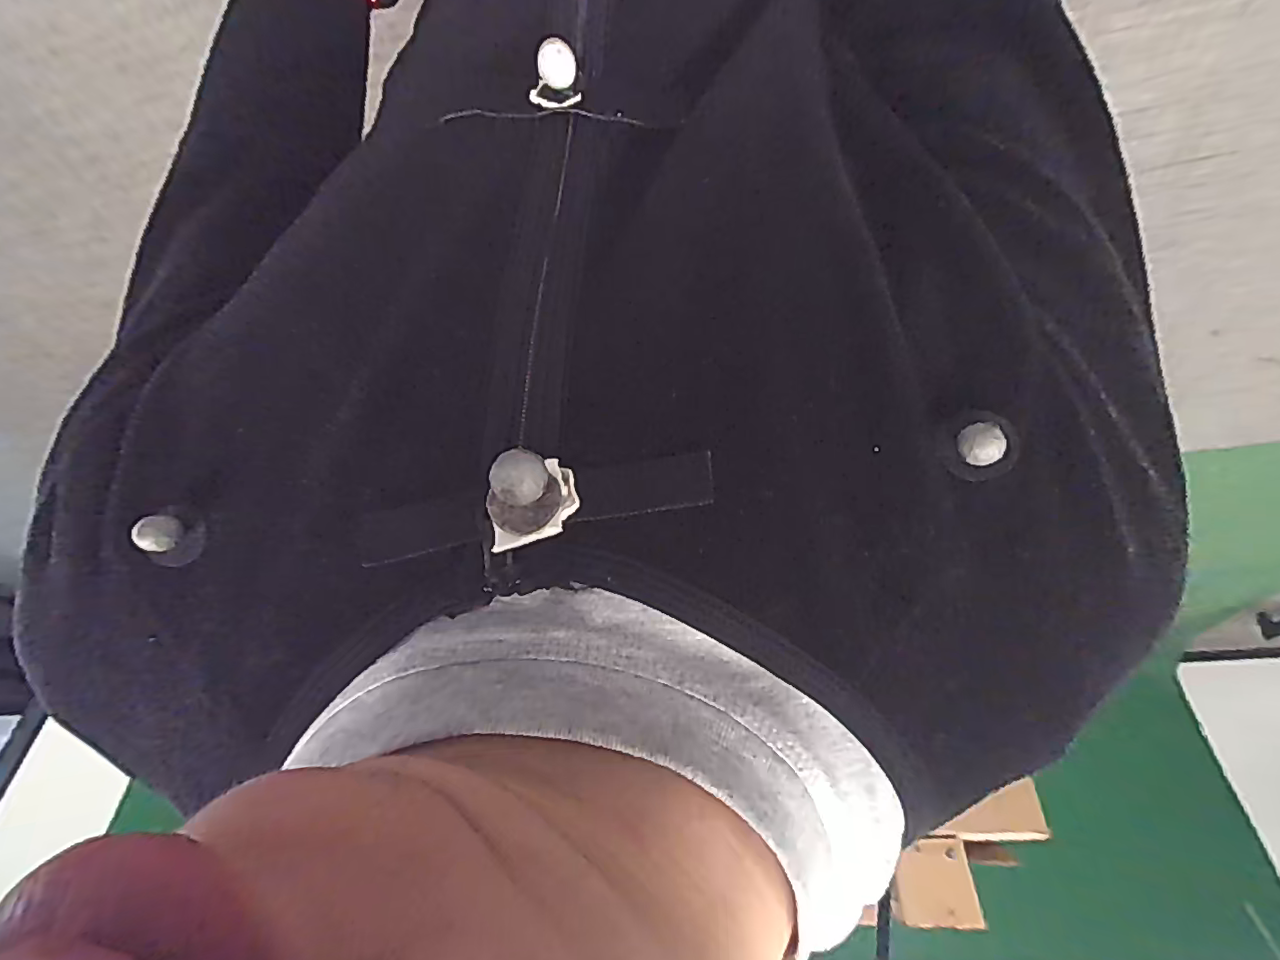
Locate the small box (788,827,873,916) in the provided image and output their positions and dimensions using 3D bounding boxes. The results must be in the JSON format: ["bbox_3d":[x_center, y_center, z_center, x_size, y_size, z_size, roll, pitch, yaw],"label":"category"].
[{"bbox_3d":[0.469,0.980,1.359,0.168,0.176,0.179,-6,144,9],"label":"small box"}]
